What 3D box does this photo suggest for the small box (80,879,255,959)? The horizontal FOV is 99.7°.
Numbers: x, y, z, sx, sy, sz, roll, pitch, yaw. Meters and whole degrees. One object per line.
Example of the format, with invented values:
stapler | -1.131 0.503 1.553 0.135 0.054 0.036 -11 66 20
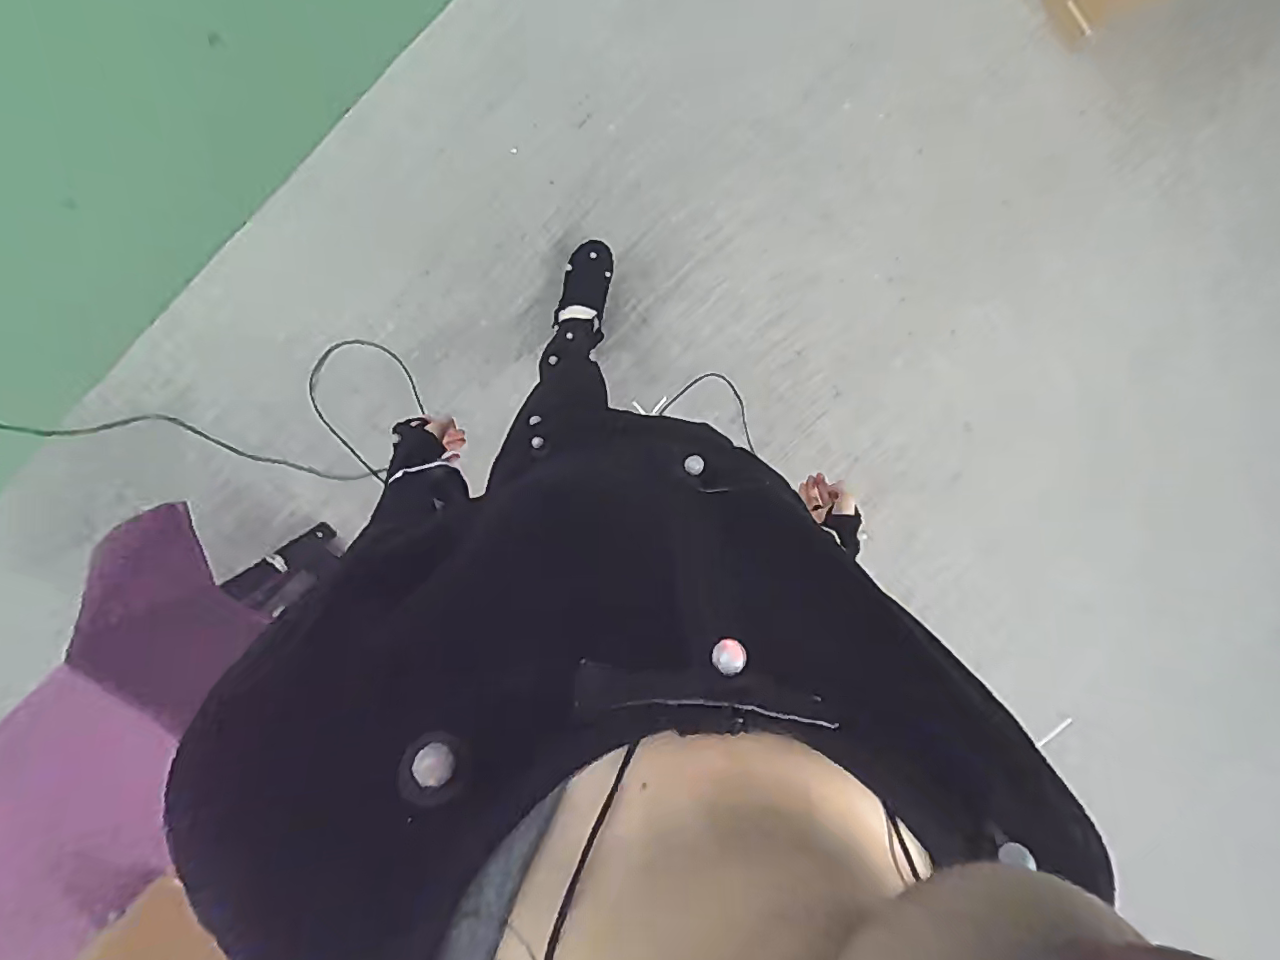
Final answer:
small box | -0.710 0.729 0.771 0.168 0.176 0.179 -42 102 5
